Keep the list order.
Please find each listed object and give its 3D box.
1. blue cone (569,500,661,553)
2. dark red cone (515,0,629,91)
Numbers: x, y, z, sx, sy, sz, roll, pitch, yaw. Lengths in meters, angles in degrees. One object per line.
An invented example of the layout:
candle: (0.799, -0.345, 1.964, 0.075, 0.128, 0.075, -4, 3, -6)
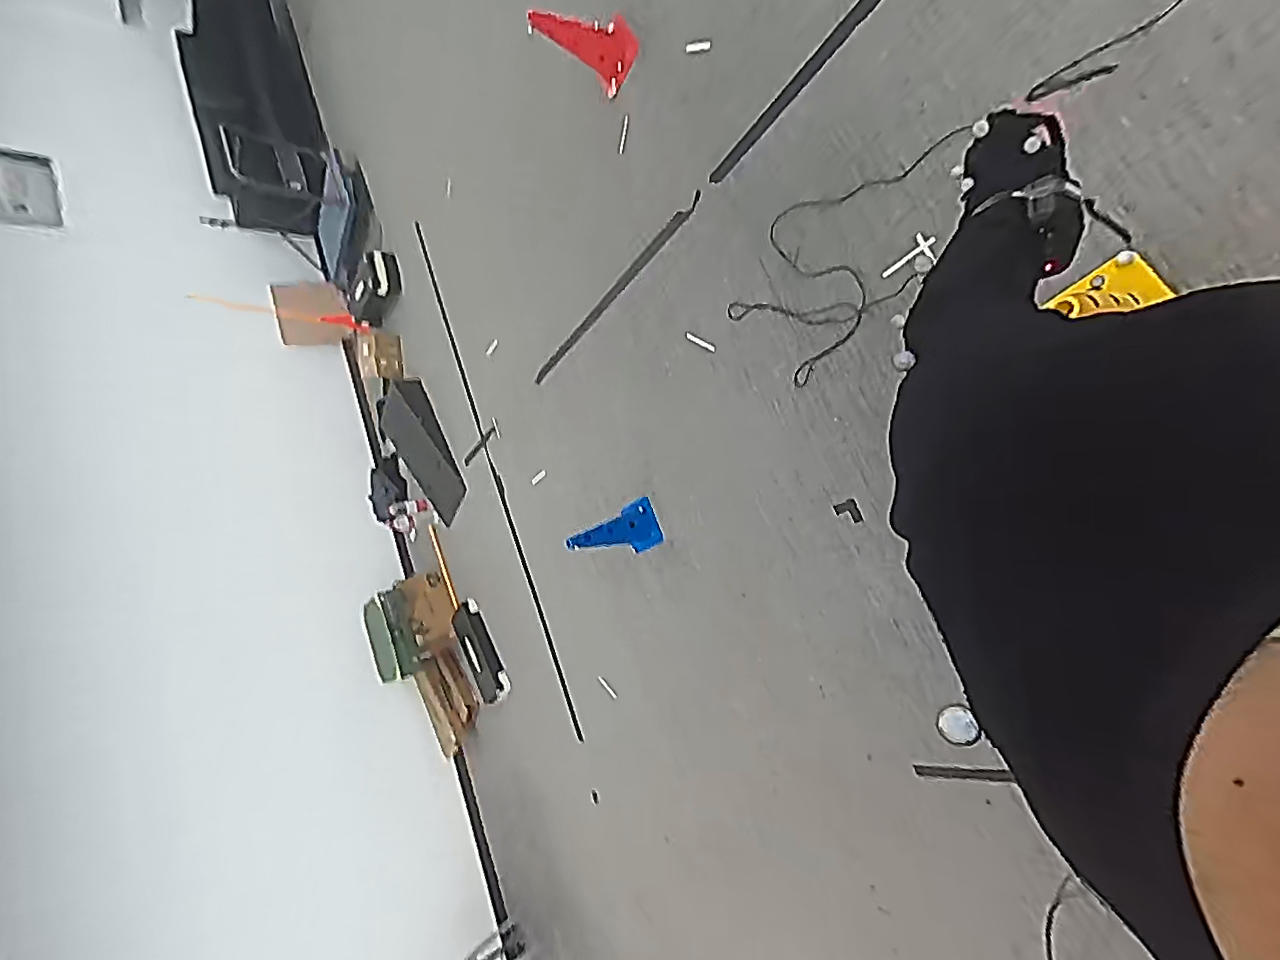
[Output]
blue cone: (-0.117, 0.211, 2.094, 0.193, 0.380, 0.192, -32, 74, 48)
dark red cone: (-0.243, -1.526, 1.836, 0.202, 0.394, 0.201, -43, 66, 45)
